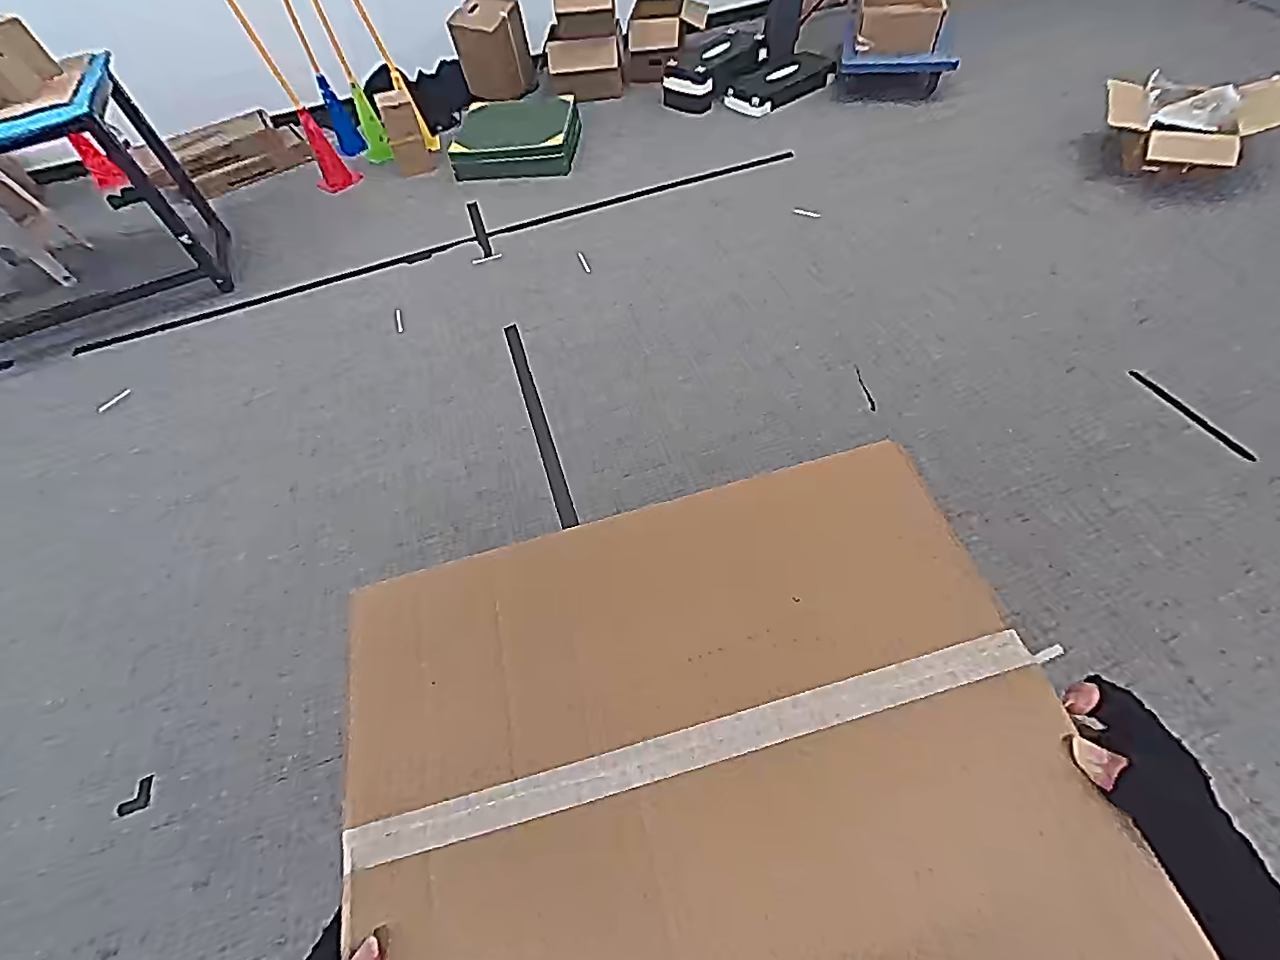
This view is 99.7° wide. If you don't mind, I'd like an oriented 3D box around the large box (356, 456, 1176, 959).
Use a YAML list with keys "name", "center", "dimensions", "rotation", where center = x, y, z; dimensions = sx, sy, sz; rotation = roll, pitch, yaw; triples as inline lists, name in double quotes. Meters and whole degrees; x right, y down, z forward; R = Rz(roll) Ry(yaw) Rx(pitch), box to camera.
- name: "large box"
  center: [0.046, 0.234, 0.448]
  dimensions: [0.408, 0.320, 0.320]
  rotation: [-16, 59, -2]
